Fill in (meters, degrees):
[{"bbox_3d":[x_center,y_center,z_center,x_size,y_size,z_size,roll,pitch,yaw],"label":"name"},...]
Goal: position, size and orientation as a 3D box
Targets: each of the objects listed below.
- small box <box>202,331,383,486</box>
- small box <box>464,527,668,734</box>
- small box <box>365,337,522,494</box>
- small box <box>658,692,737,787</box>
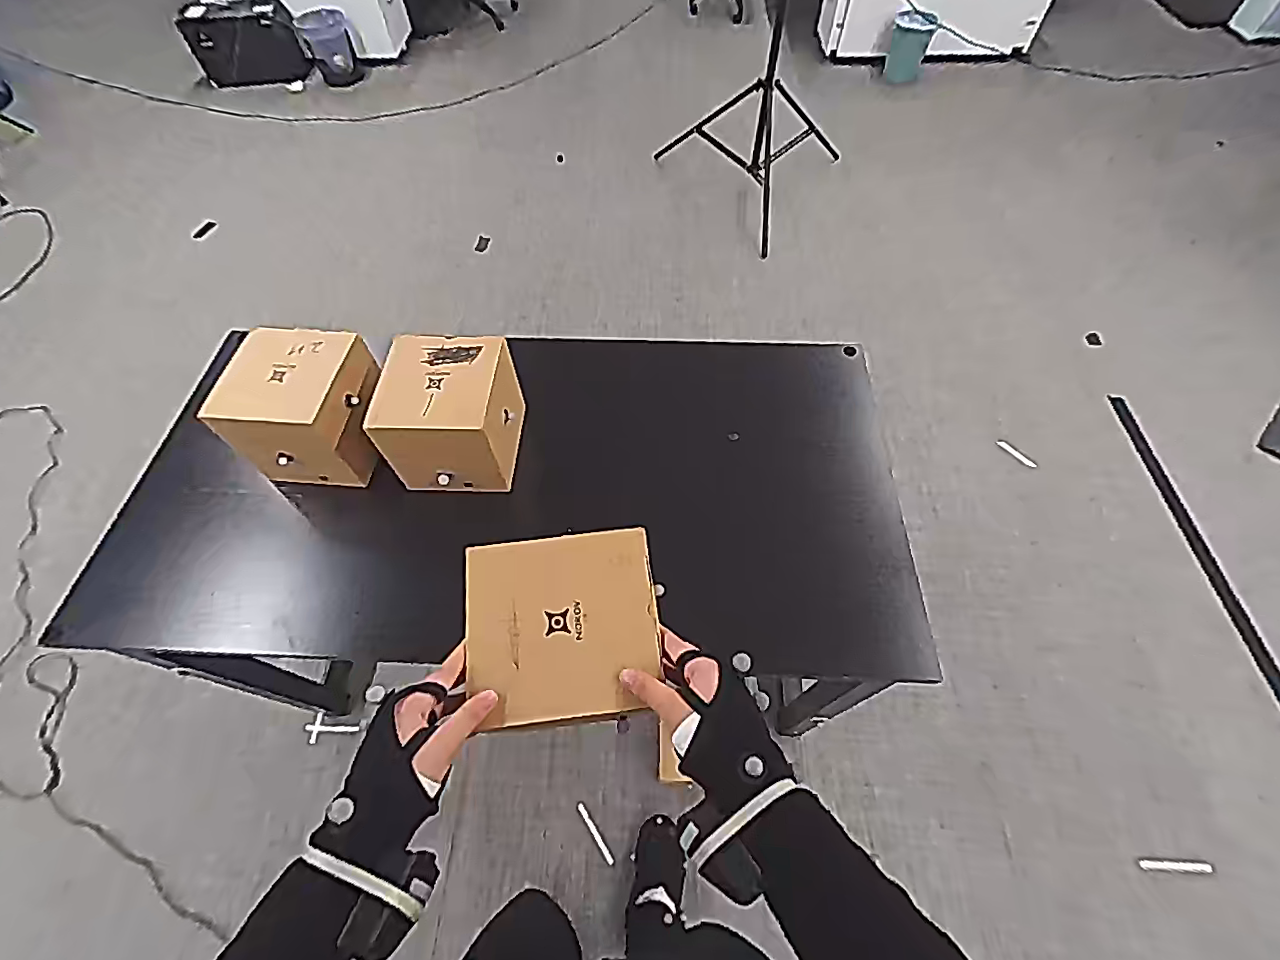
[{"bbox_3d":[-0.510,-0.106,0.843,0.168,0.176,0.179,4,58,3],"label":"small box"},{"bbox_3d":[-0.071,0.164,0.564,0.179,0.176,0.168,-8,63,-2],"label":"small box"},{"bbox_3d":[-0.285,-0.097,0.833,0.168,0.176,0.179,1,59,2],"label":"small box"},{"bbox_3d":[0.126,0.600,1.247,0.168,0.176,0.179,0,58,2],"label":"small box"}]
